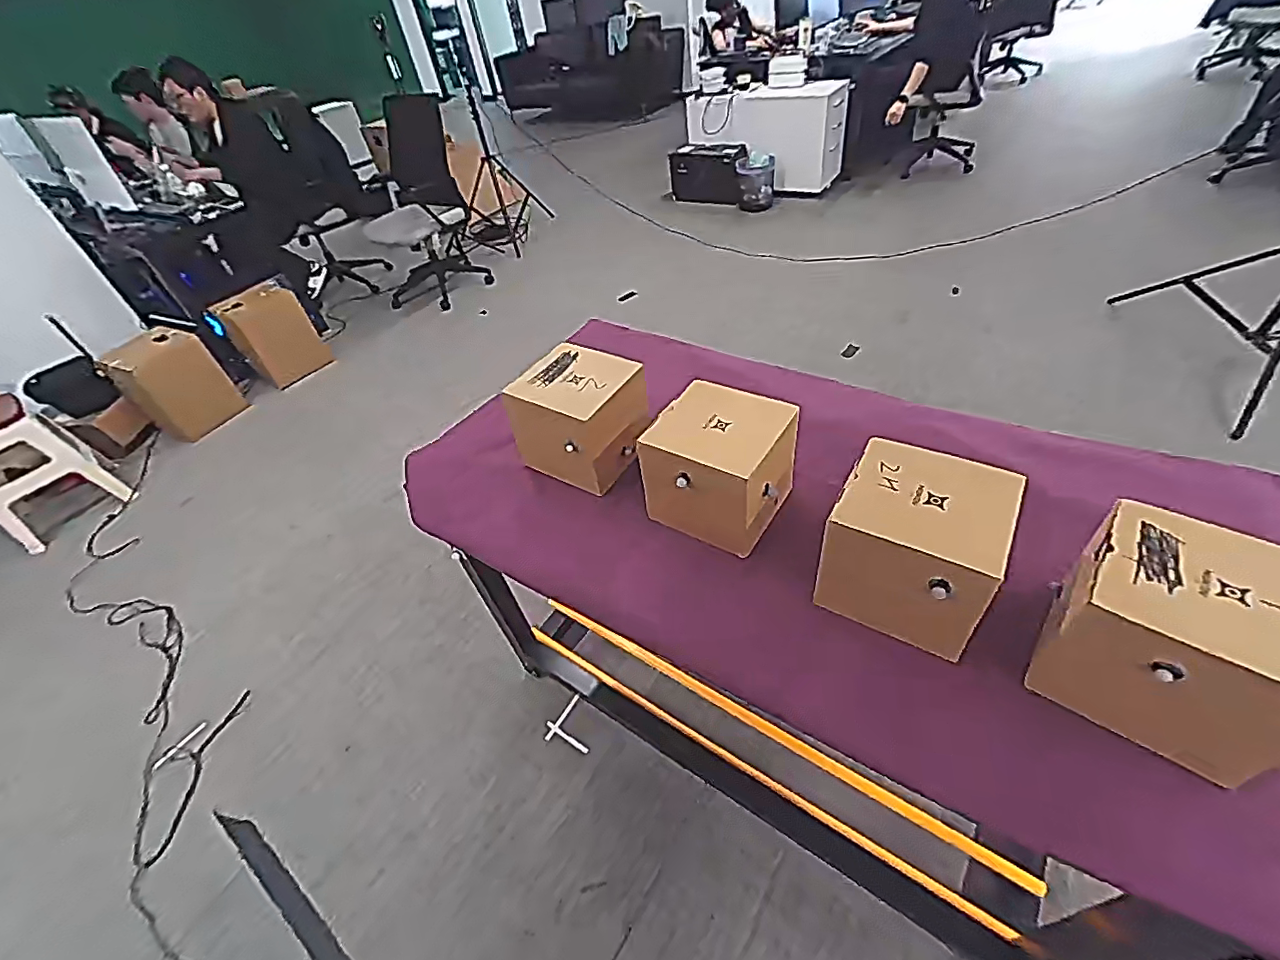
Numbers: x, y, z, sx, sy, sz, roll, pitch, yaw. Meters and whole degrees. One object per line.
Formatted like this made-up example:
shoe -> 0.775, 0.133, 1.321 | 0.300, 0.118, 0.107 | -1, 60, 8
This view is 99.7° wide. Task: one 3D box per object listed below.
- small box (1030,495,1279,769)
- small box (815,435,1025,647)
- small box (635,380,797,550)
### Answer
small box -> 0.535, 0.151, 0.546 | 0.179, 0.176, 0.168 | 26, 53, 32
small box -> 0.333, 0.076, 0.664 | 0.179, 0.176, 0.168 | 20, 50, 29
small box -> 0.119, -0.021, 0.813 | 0.179, 0.176, 0.168 | 20, 52, 29
